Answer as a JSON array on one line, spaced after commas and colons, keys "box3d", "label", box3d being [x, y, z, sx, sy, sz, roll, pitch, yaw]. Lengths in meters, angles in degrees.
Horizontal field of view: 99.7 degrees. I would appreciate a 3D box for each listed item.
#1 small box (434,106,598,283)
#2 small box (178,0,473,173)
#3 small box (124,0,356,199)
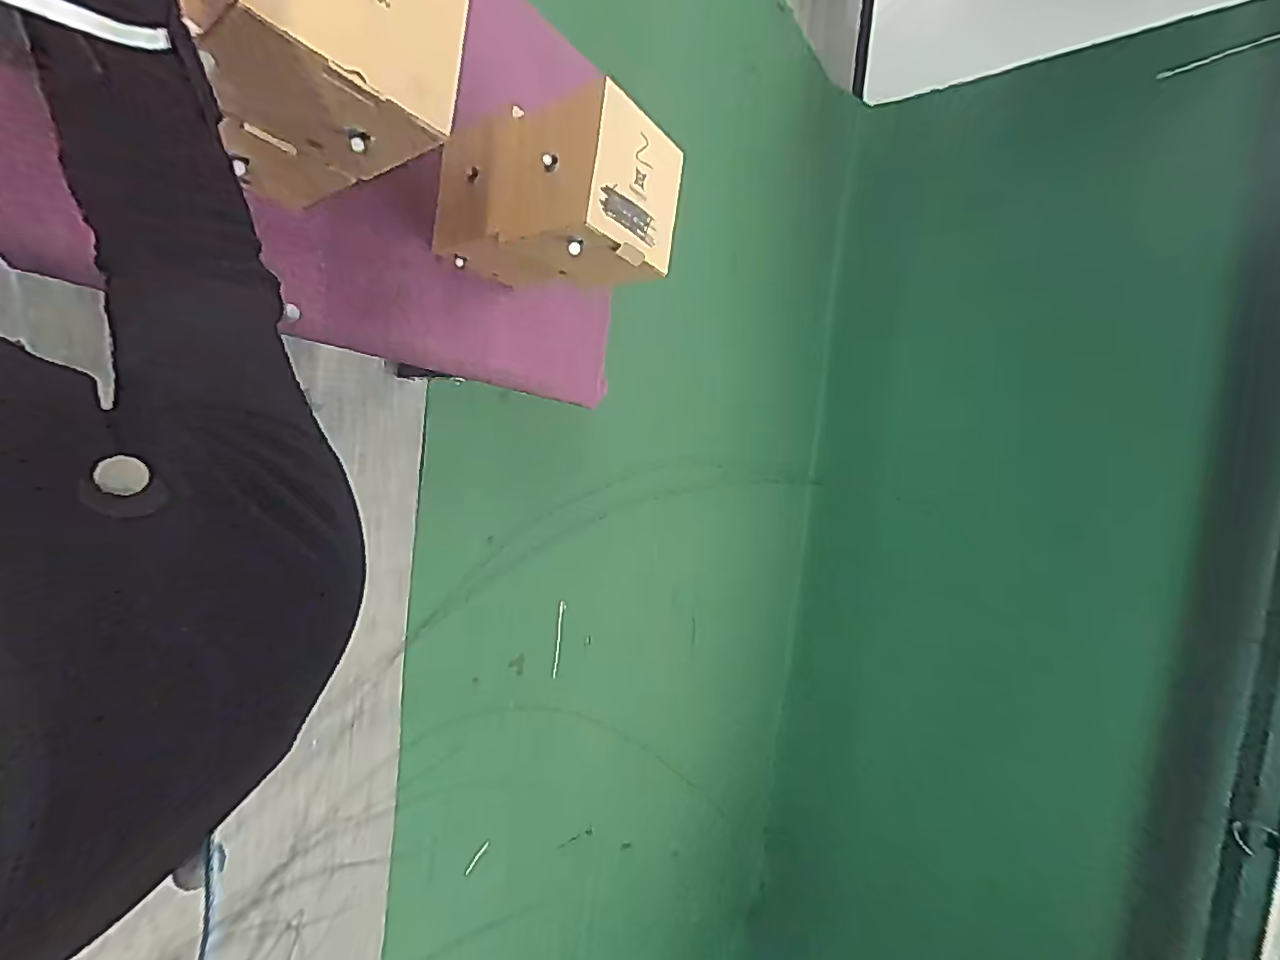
[{"box3d": [-0.192, -0.419, 0.832, 0.168, 0.176, 0.179, 10, 90, -54], "label": "small box"}, {"box3d": [-0.270, -0.403, 0.469, 0.168, 0.176, 0.179, 7, 92, -53], "label": "small box"}, {"box3d": [-0.403, -0.423, 0.563, 0.168, 0.176, 0.179, 8, 91, -53], "label": "small box"}]
